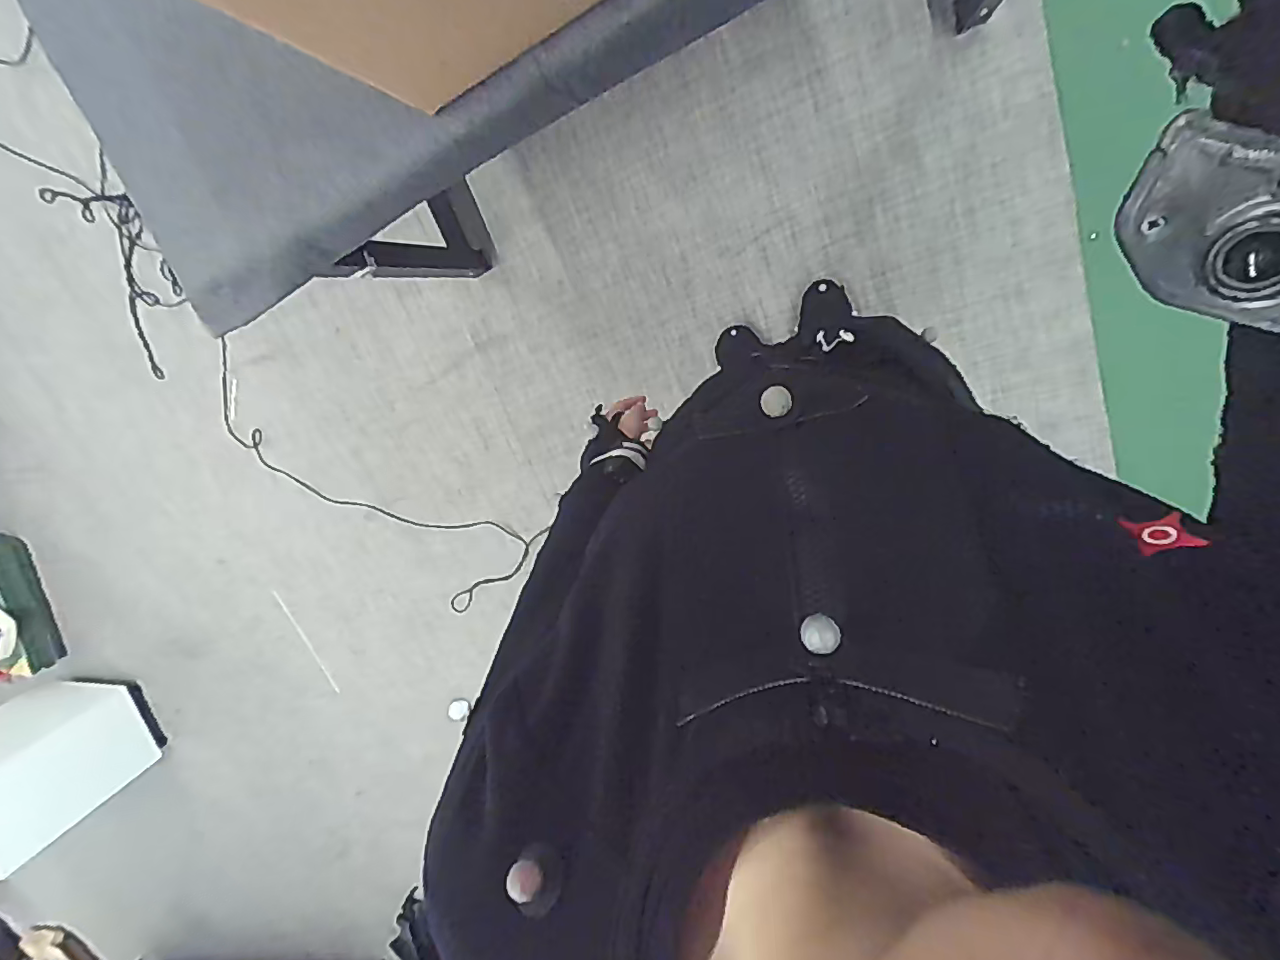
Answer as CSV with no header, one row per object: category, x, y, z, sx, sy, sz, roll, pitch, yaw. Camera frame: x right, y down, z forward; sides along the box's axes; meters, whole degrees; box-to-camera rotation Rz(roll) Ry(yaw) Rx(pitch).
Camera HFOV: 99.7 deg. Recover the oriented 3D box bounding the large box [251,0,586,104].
large box,-0.137,-0.545,0.342,0.408,0.320,0.320,-19,103,19
